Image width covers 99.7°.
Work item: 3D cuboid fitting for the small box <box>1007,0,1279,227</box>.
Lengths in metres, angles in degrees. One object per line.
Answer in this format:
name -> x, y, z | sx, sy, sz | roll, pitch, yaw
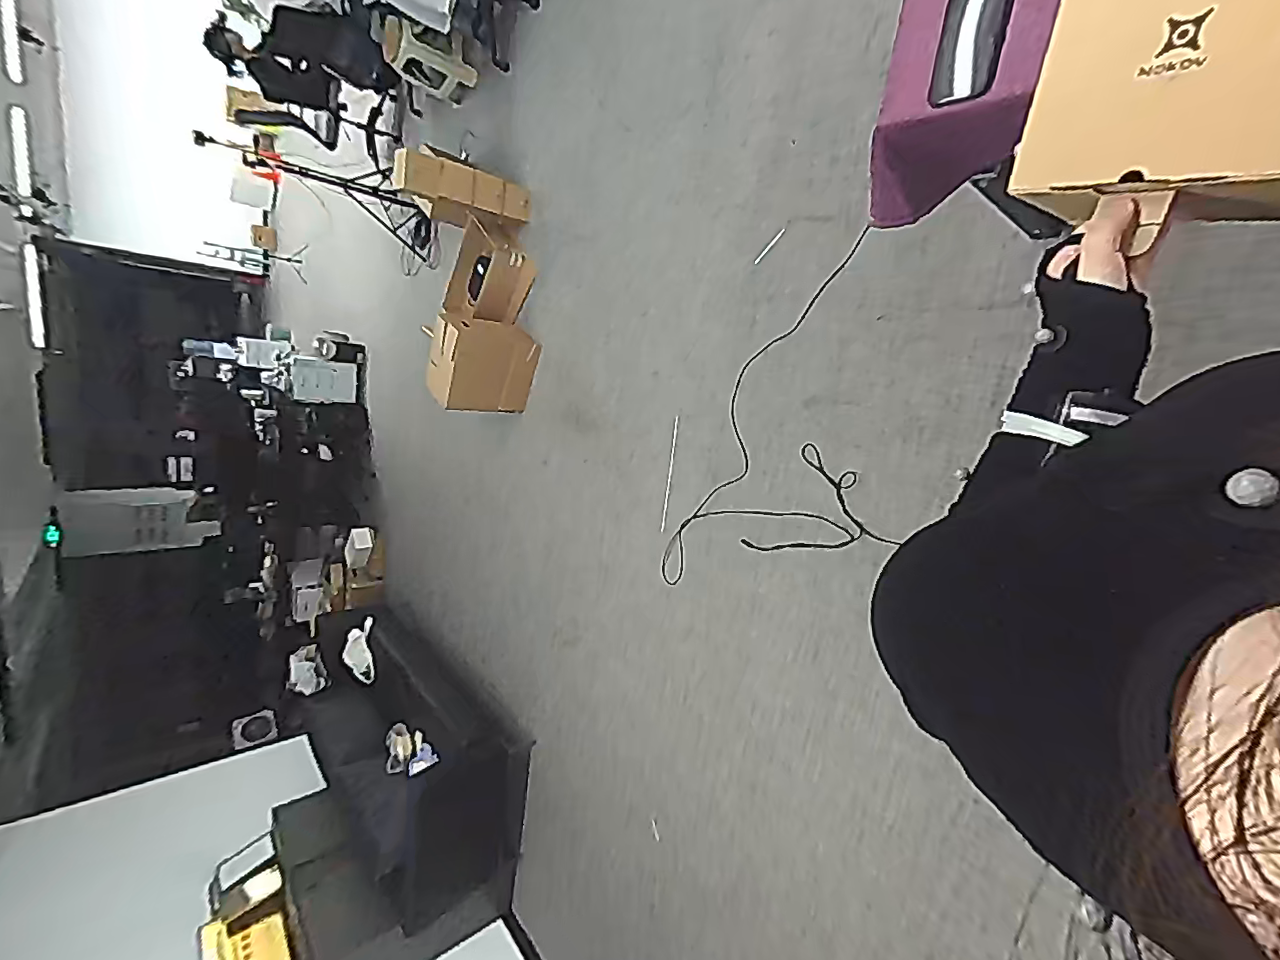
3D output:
small box -> 0.430, -0.305, 0.420 | 0.168, 0.176, 0.179 | 28, 120, 46
